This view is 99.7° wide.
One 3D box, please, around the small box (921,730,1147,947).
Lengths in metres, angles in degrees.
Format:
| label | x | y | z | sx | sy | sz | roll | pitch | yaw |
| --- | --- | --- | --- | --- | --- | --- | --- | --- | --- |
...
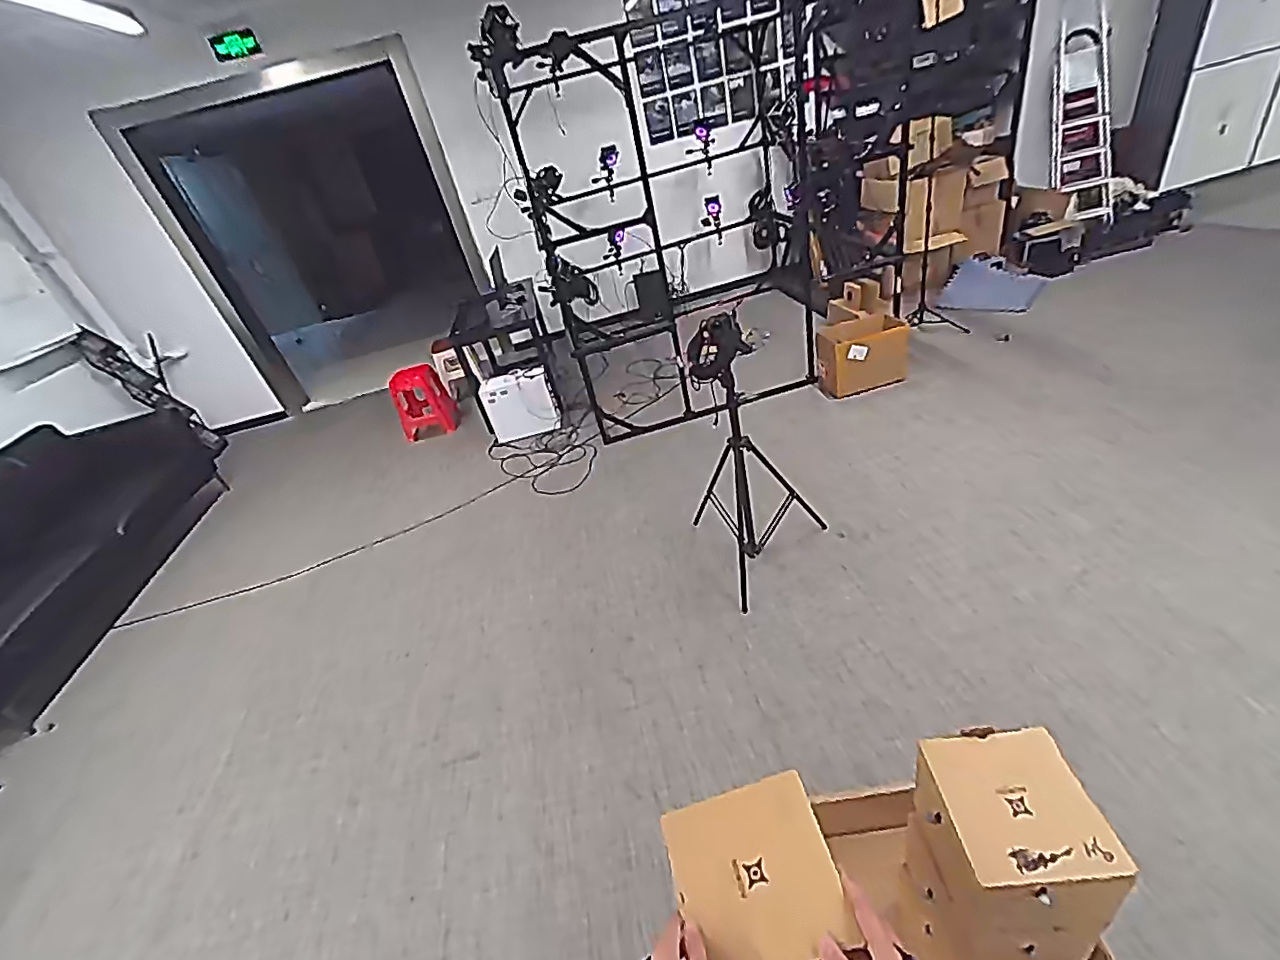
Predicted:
| label | x | y | z | sx | sy | sz | roll | pitch | yaw |
| --- | --- | --- | --- | --- | --- | --- | --- | --- | --- |
| small box | 0.476 | 0.455 | 0.692 | 0.168 | 0.176 | 0.179 | -11 | 32 | 9 |

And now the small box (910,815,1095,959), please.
| label | x | y | z | sx | sy | sz | roll | pitch | yaw |
| --- | --- | --- | --- | --- | --- | --- | --- | --- | --- |
| small box | 0.513 | 0.591 | 0.776 | 0.179 | 0.176 | 0.168 | -14 | 33 | 4 |

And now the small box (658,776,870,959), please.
| label | x | y | z | sx | sy | sz | roll | pitch | yaw |
| --- | --- | --- | --- | --- | --- | --- | --- | --- | --- |
| small box | 0.141 | 0.474 | 0.616 | 0.179 | 0.176 | 0.168 | -23 | 40 | 4 |
